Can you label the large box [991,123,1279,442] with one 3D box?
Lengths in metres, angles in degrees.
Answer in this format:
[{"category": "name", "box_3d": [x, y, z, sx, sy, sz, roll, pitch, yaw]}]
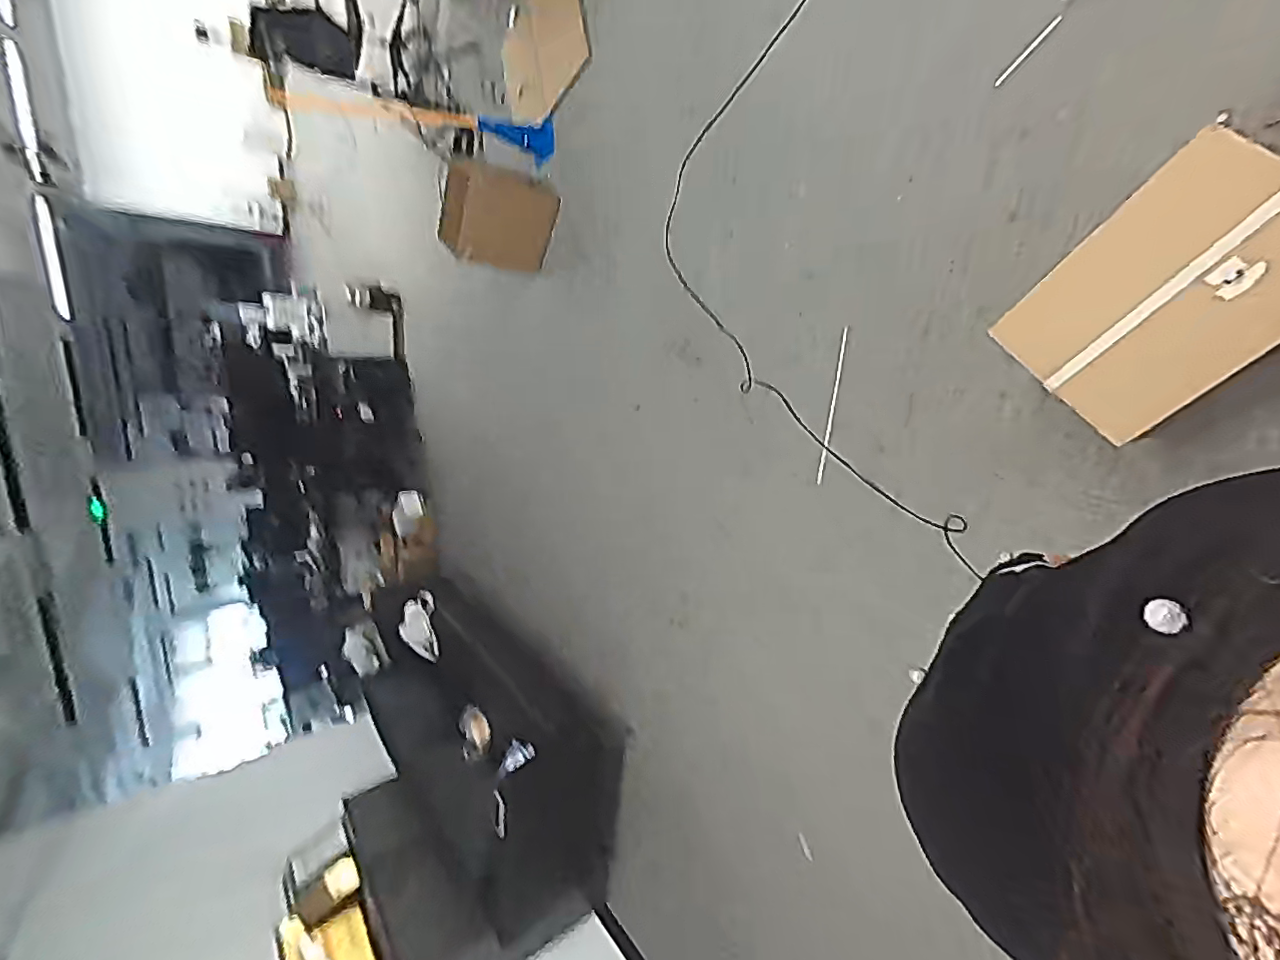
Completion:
[{"category": "large box", "box_3d": [0.961, -0.317, 0.973, 0.320, 0.320, 0.408, 59, 135, 26]}]
